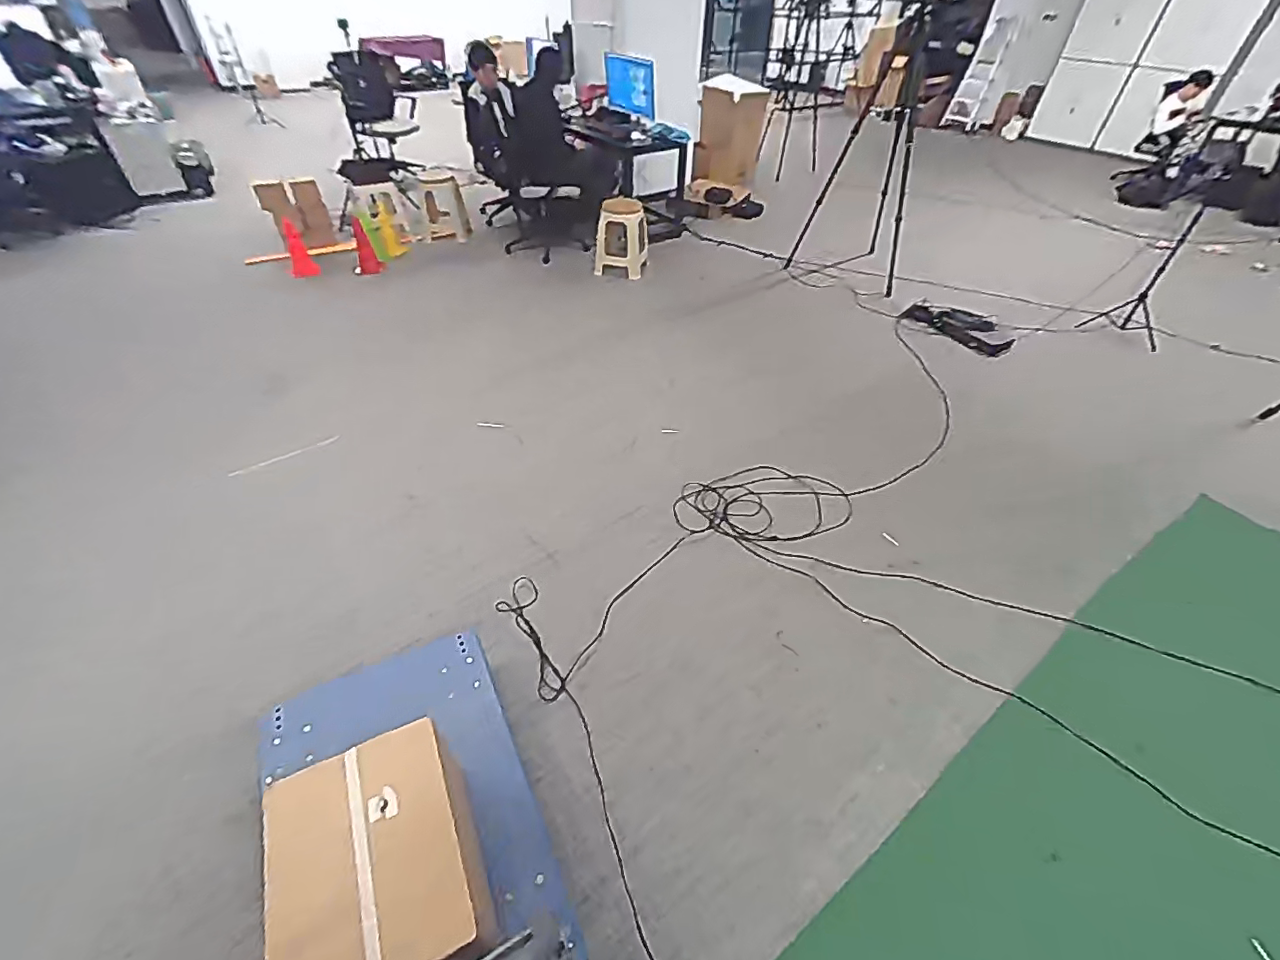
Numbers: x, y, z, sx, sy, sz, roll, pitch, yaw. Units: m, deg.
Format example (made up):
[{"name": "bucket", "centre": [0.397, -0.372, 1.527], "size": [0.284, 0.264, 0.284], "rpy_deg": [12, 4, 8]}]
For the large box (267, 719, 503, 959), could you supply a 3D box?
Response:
[{"name": "large box", "centre": [-0.496, 0.778, 1.068], "size": [0.320, 0.320, 0.408], "rpy_deg": [-17, 46, -21]}]
